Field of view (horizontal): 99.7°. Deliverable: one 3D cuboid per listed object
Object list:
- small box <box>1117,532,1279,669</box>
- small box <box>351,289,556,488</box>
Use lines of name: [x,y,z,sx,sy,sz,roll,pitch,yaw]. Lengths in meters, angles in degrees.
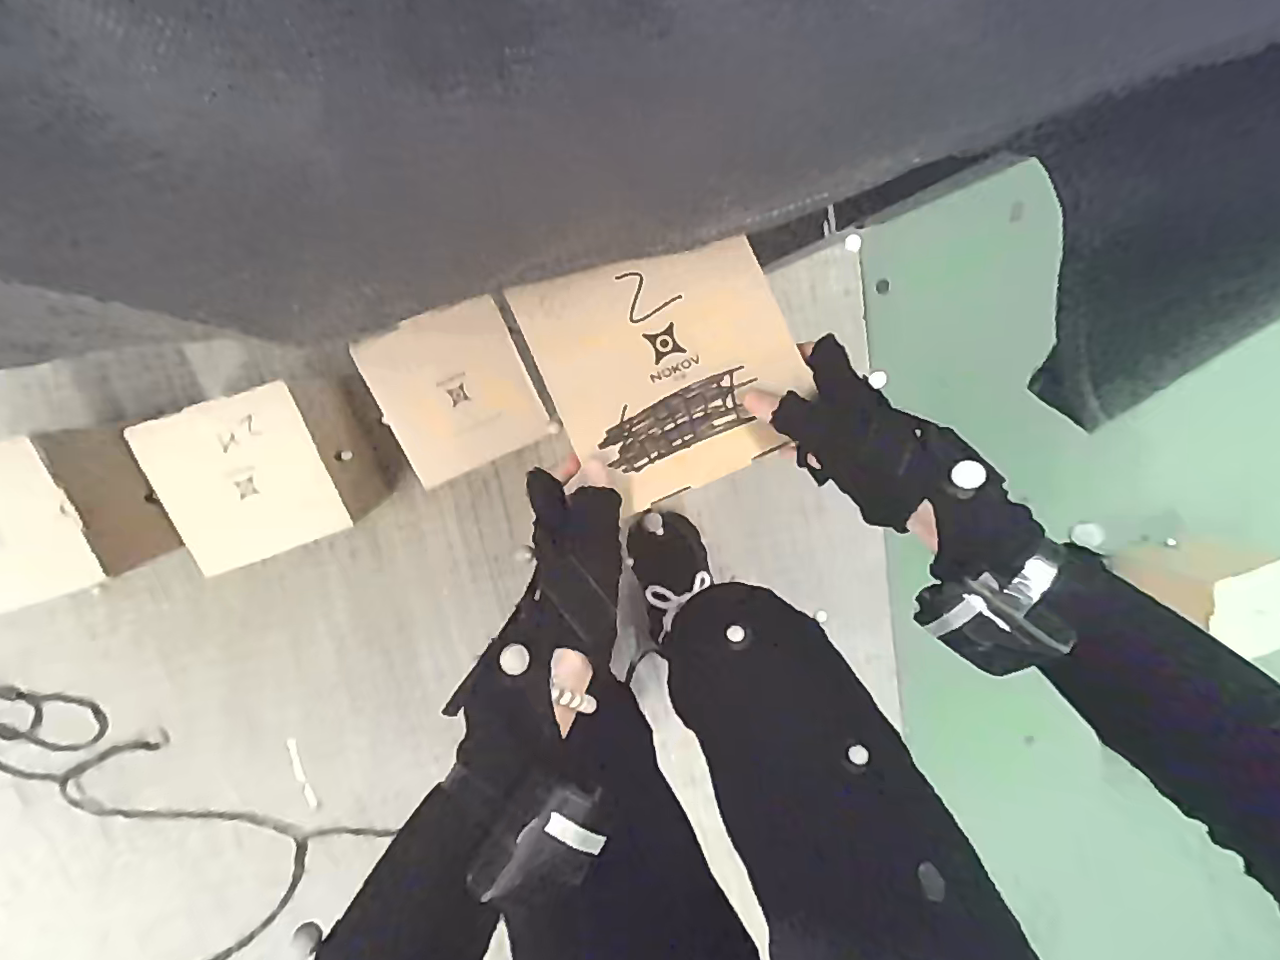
small box: [1.017,0.209,0.982,0.179,0.176,0.168,-14,103,-7]
small box: [-0.218,-0.112,0.676,0.168,0.176,0.179,-25,104,-5]
